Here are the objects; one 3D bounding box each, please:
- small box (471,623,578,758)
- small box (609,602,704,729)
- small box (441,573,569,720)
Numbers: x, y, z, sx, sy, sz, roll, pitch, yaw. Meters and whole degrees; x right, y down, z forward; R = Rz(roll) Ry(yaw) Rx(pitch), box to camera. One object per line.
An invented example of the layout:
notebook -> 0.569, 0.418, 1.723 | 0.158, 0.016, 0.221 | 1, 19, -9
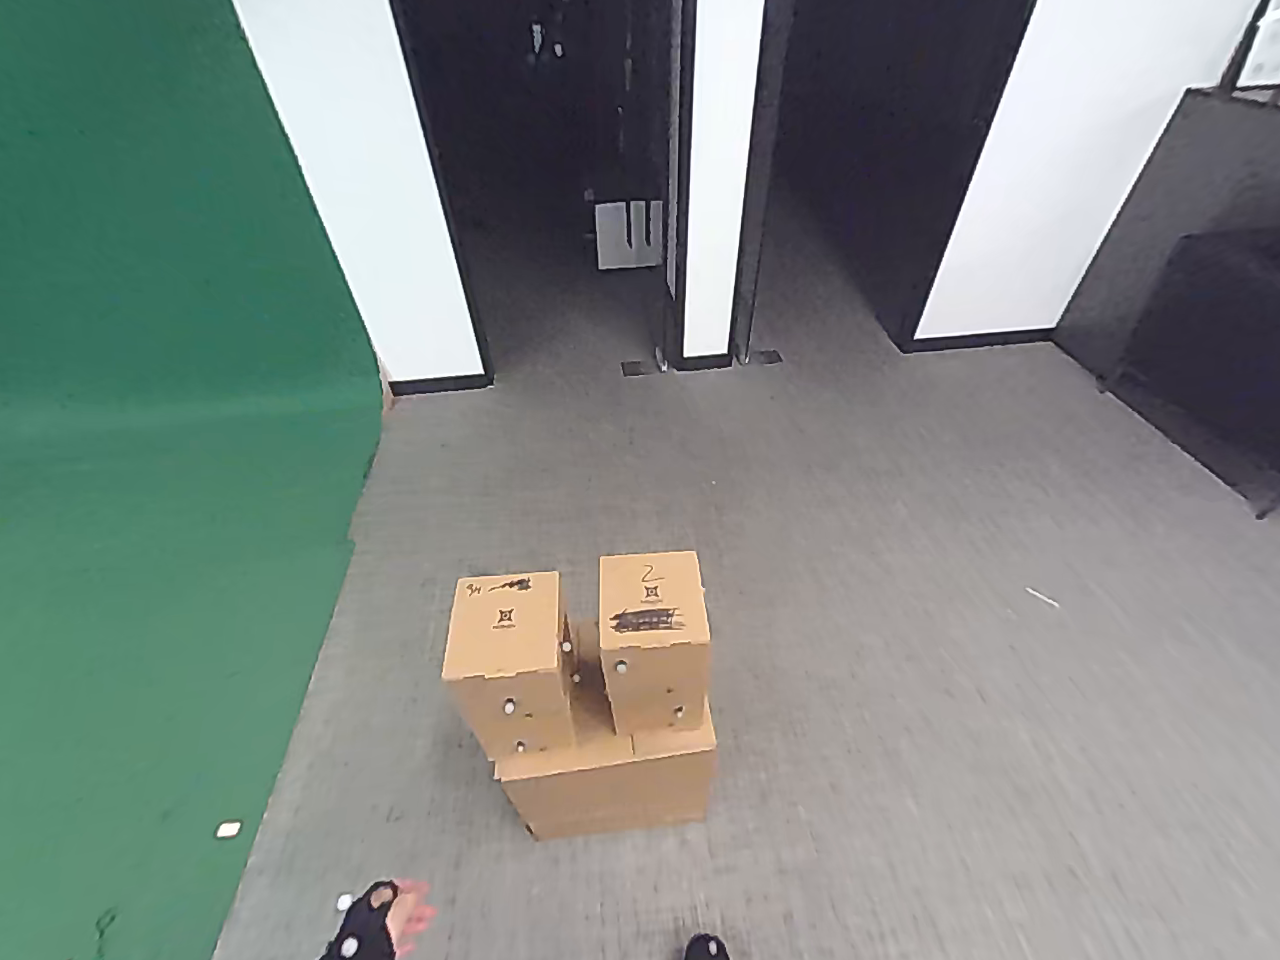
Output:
small box -> -0.204, 0.388, 1.000 | 0.168, 0.176, 0.179 | -5, 46, -4
small box -> 0.030, 0.355, 1.023 | 0.168, 0.176, 0.179 | -4, 44, -1
small box -> -0.206, 0.275, 0.880 | 0.168, 0.176, 0.179 | -4, 46, -3
